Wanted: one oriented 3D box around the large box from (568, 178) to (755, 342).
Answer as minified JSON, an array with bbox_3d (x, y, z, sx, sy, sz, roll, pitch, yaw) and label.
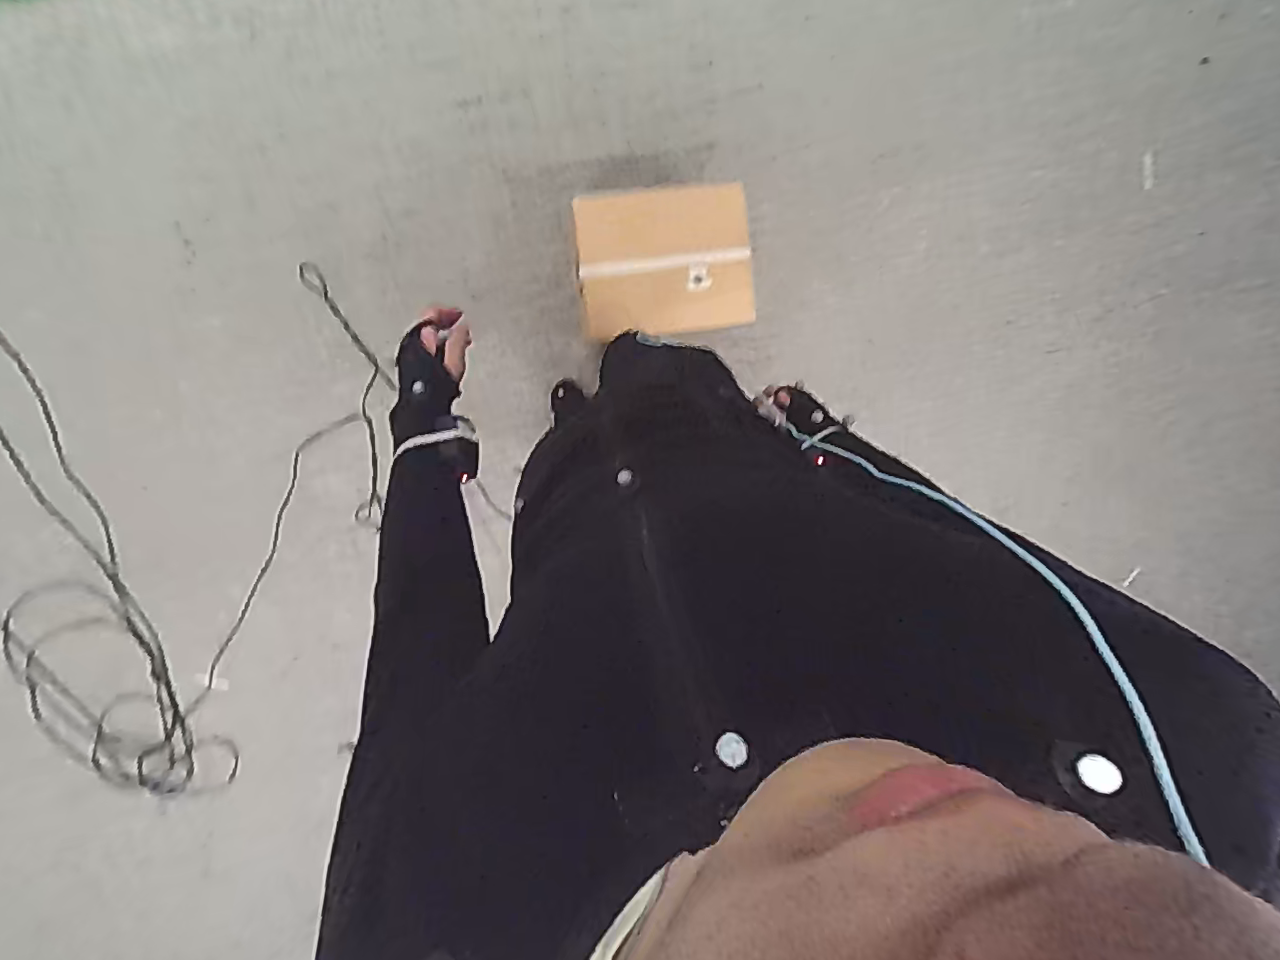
[{"bbox_3d":[0.040,-0.541,1.384,0.408,0.320,0.320,-8,102,-8],"label":"large box"}]
